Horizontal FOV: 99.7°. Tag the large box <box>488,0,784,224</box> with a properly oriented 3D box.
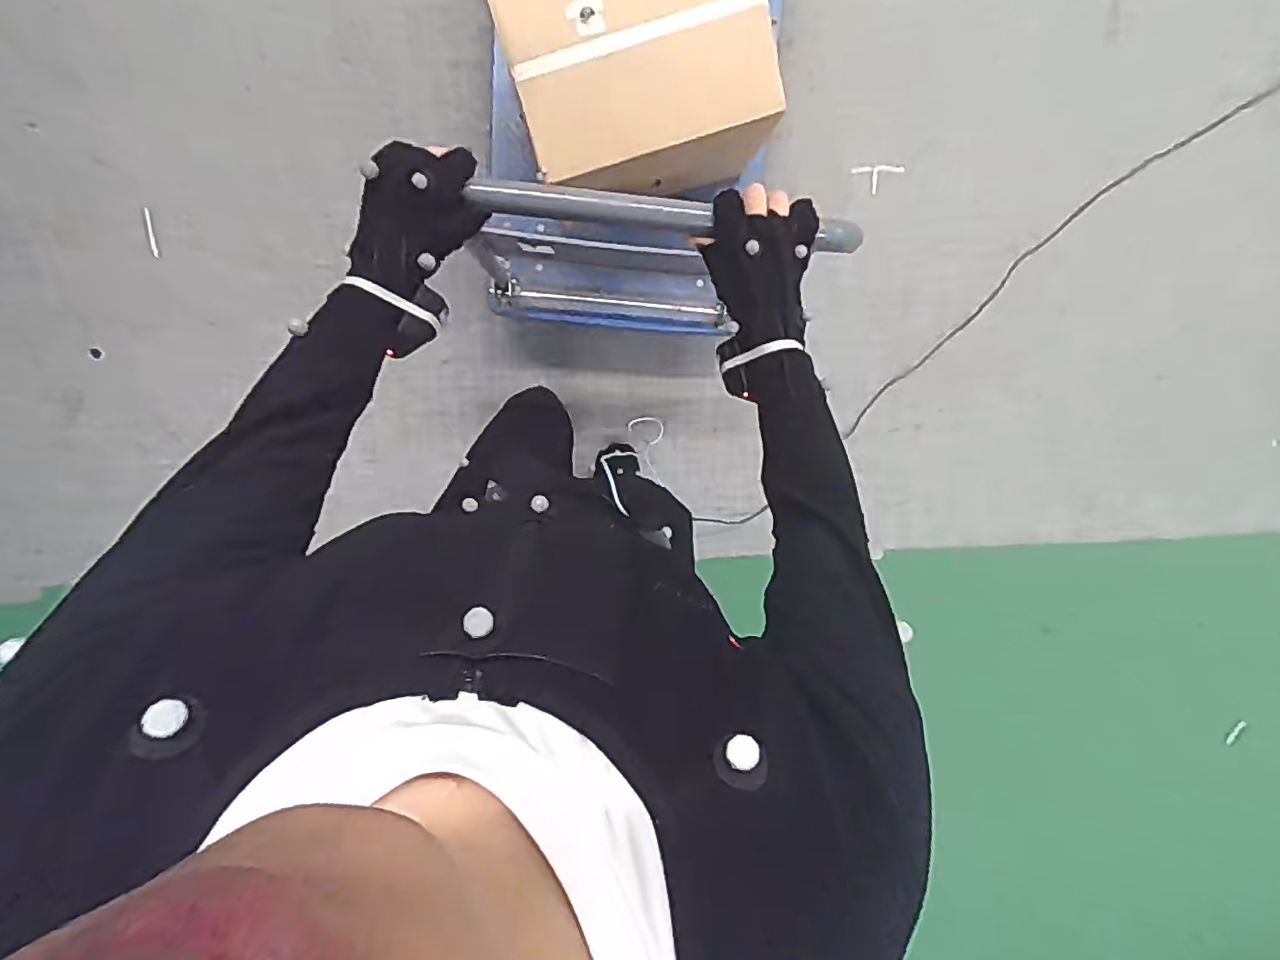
[{"bbox_3d":[-0.007,-0.712,0.976,0.408,0.320,0.320,-17,101,2],"label":"large box"}]
